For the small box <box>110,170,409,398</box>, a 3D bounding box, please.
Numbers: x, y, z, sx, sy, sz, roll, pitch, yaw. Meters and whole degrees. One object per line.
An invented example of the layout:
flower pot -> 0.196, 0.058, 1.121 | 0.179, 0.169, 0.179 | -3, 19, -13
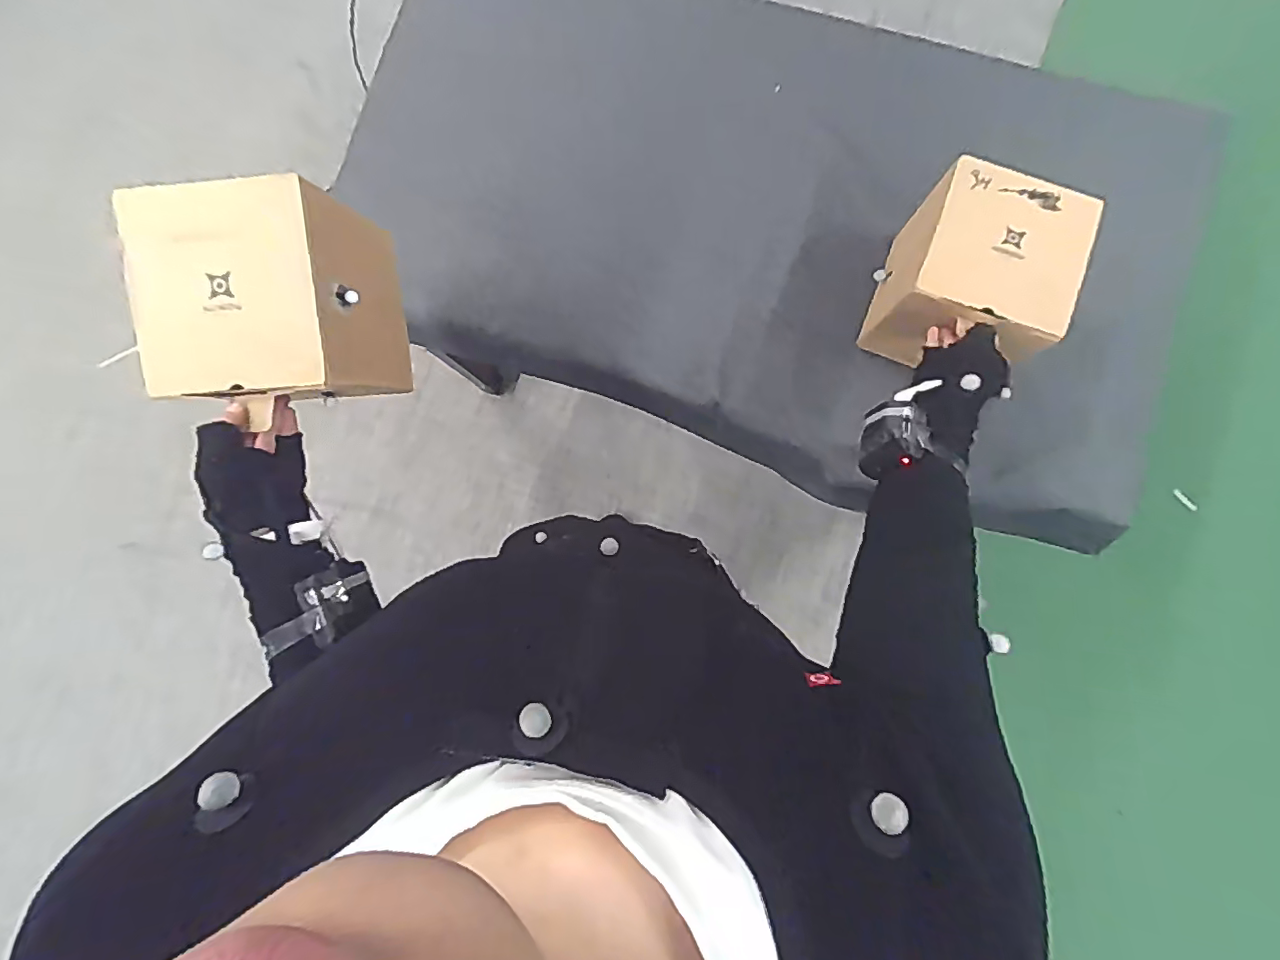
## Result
small box -> -0.348, -0.173, 0.533 | 0.168, 0.176, 0.179 | -4, 97, 3

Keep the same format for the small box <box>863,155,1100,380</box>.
small box -> 0.401, -0.245, 0.670 | 0.168, 0.176, 0.179 | 22, 83, 3
